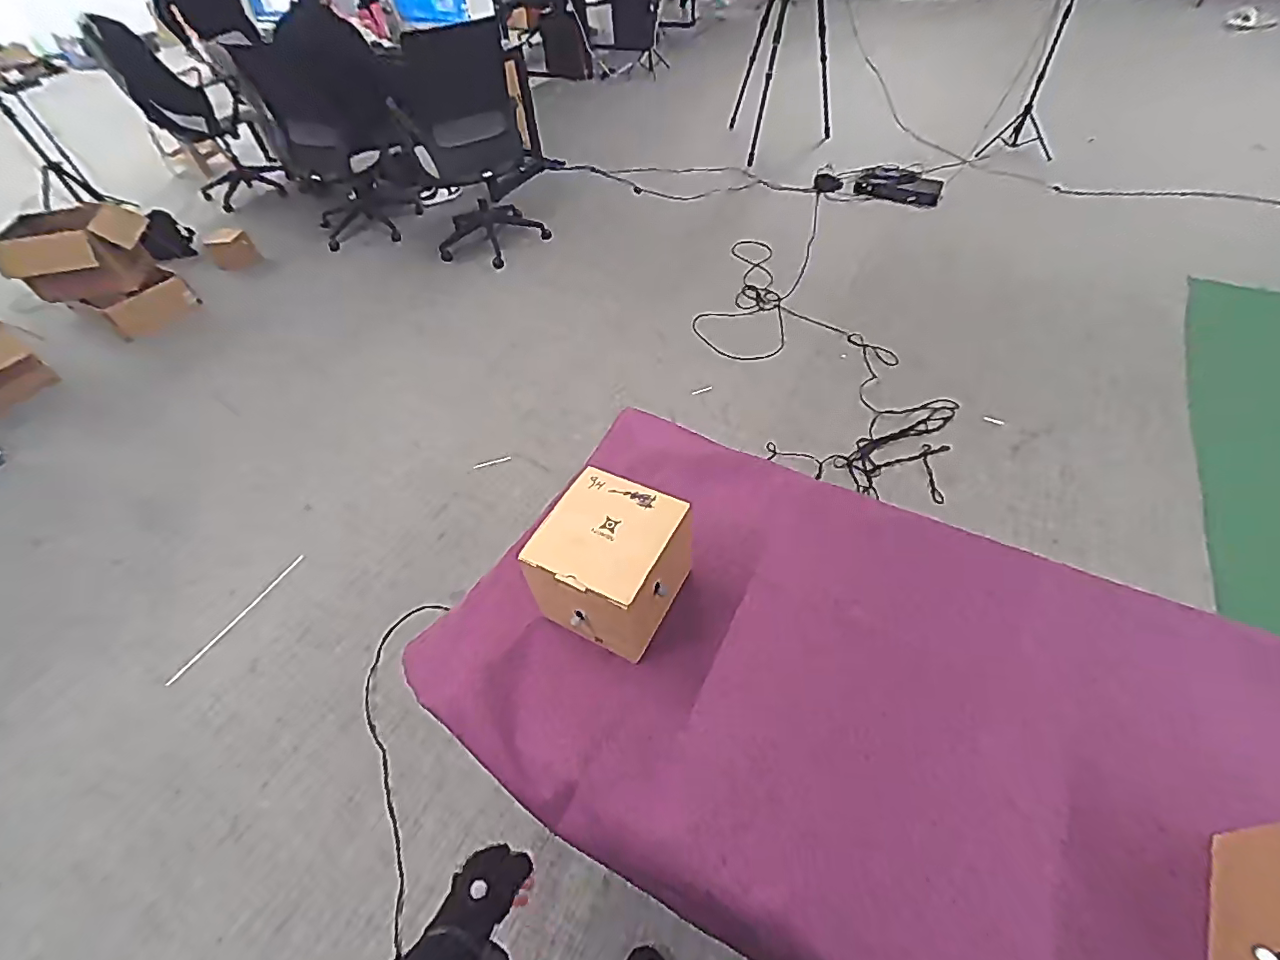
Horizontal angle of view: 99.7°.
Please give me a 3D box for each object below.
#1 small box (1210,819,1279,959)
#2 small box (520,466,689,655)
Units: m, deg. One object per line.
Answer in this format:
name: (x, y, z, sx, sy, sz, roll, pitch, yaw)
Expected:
small box: (0.632, 0.414, 0.447, 0.168, 0.176, 0.179, 27, 56, 25)
small box: (-0.037, 0.116, 0.766, 0.168, 0.176, 0.179, 21, 55, 21)
